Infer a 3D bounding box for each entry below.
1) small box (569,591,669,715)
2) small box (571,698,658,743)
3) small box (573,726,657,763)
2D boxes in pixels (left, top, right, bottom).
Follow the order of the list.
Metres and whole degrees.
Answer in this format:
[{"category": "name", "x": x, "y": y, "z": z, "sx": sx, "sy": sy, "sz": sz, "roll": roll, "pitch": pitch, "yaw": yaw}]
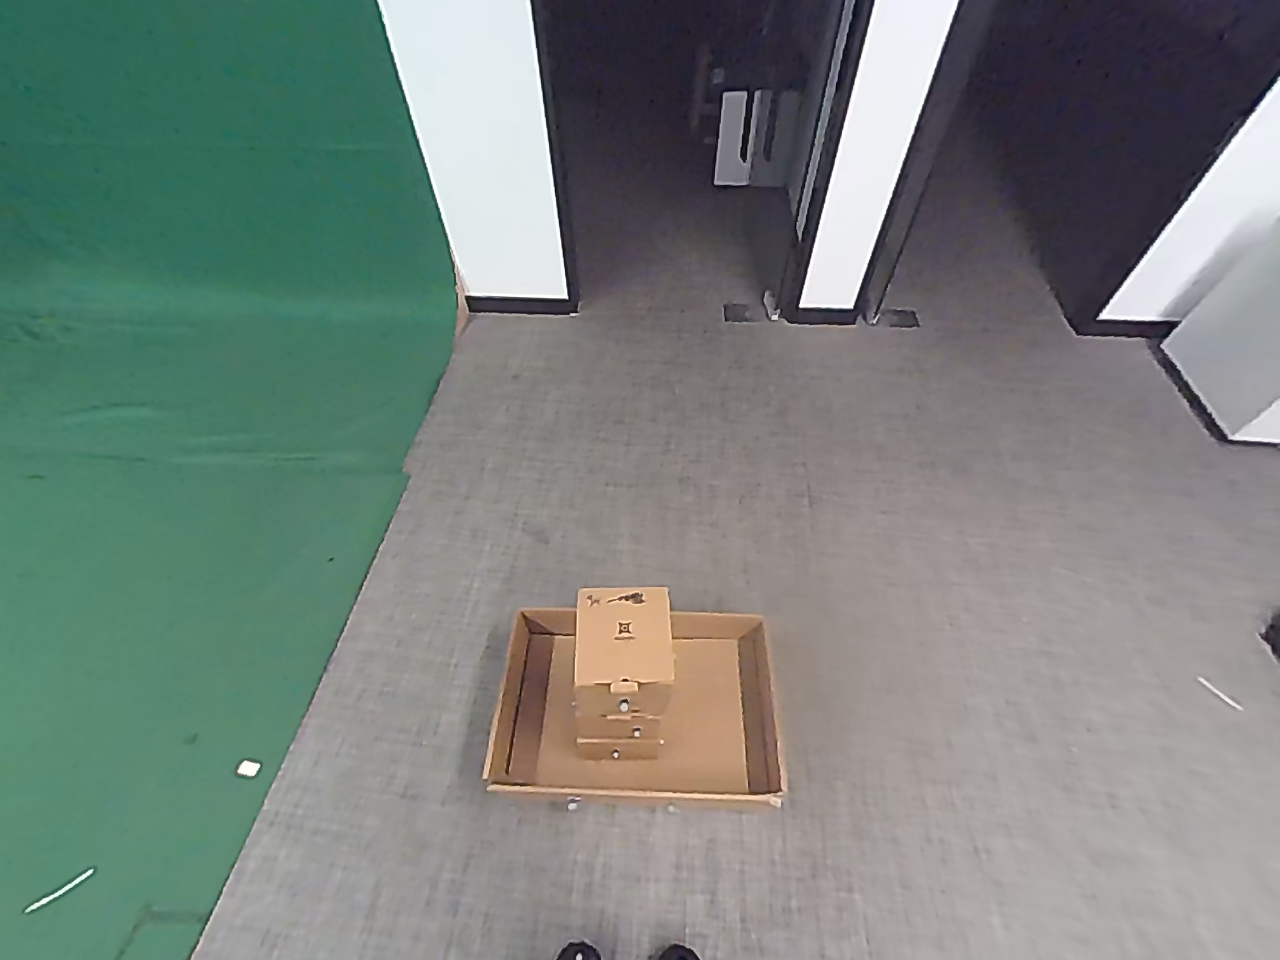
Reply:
[{"category": "small box", "x": -0.034, "y": 0.320, "z": 0.988, "sx": 0.168, "sy": 0.176, "sz": 0.179, "roll": 1, "pitch": 51, "yaw": -1}, {"category": "small box", "x": -0.045, "y": 0.427, "z": 1.112, "sx": 0.168, "sy": 0.176, "sz": 0.179, "roll": 3, "pitch": 49, "yaw": 0}, {"category": "small box", "x": -0.051, "y": 0.535, "z": 1.230, "sx": 0.179, "sy": 0.176, "sz": 0.168, "roll": 0, "pitch": 50, "yaw": 1}]
